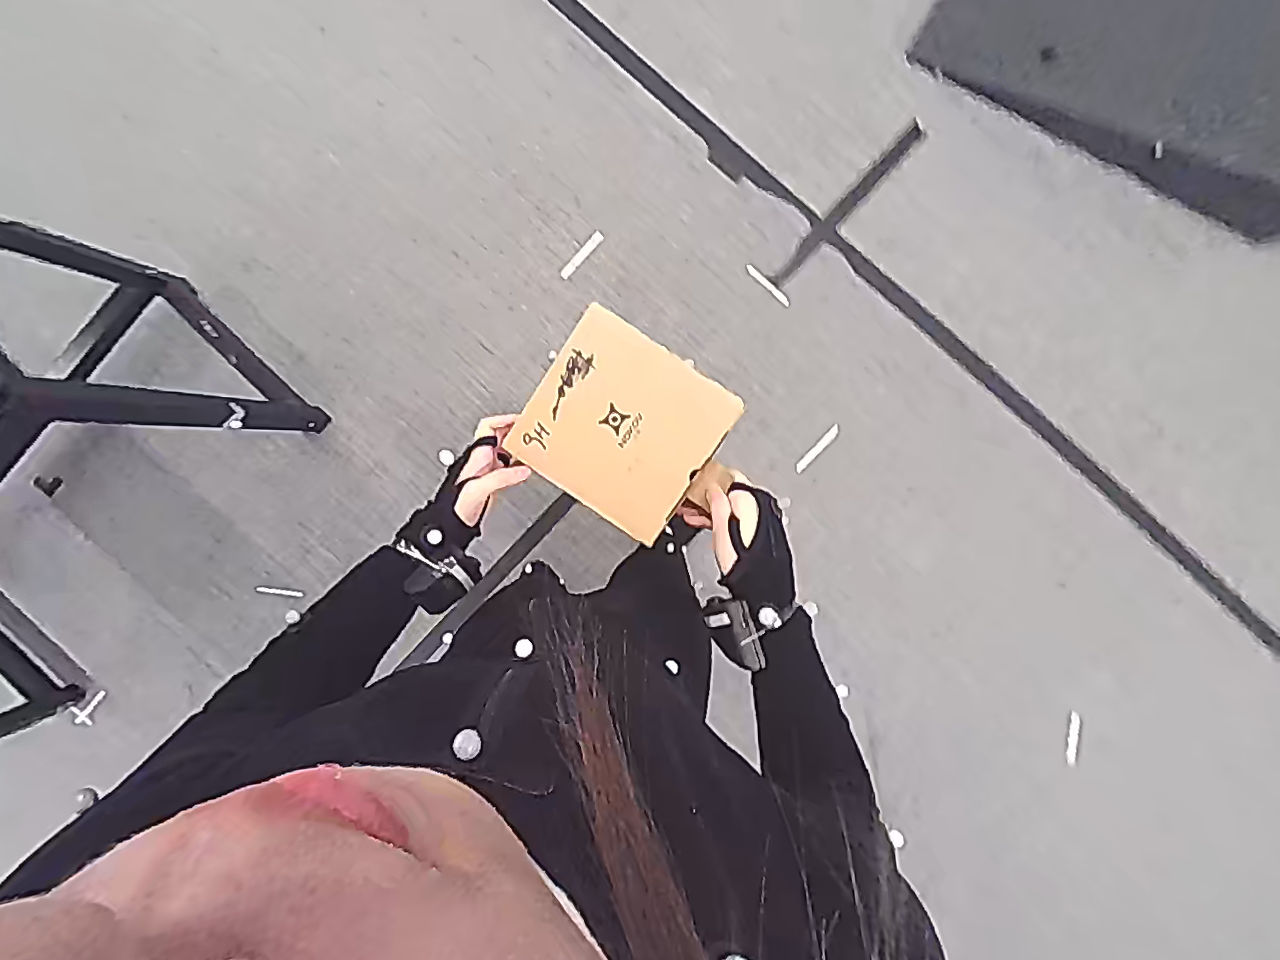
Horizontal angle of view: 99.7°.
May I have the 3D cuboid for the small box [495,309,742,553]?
[{"bbox_3d":[-0.017,-0.052,0.578,0.179,0.176,0.168,34,96,0],"label":"small box"}]
